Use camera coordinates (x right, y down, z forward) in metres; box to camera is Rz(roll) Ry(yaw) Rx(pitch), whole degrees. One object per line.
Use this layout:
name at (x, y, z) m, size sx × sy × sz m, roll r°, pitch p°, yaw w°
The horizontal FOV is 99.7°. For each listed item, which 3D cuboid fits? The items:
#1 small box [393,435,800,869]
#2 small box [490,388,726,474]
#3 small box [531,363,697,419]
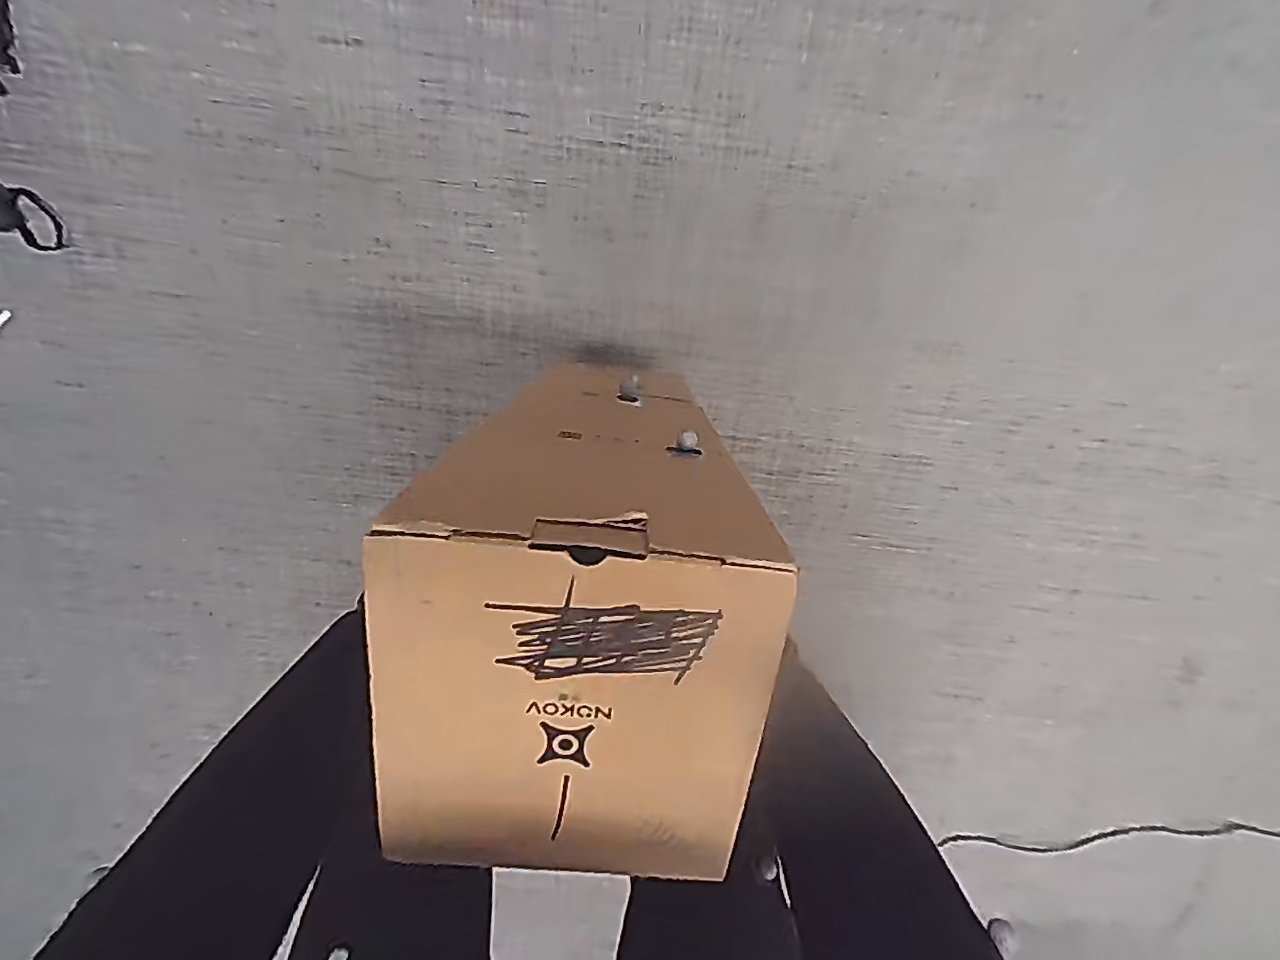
small box at (-0.027, 0.082, 0.316) m, size 0.168 × 0.176 × 0.179 m, roll 6°, pitch 111°, yaw -3°
small box at (-0.031, 0.027, 0.471) m, size 0.168 × 0.176 × 0.179 m, roll 5°, pitch 108°, yaw -3°
small box at (-0.032, -0.029, 0.625) m, size 0.168 × 0.176 × 0.179 m, roll 6°, pitch 110°, yaw -2°
